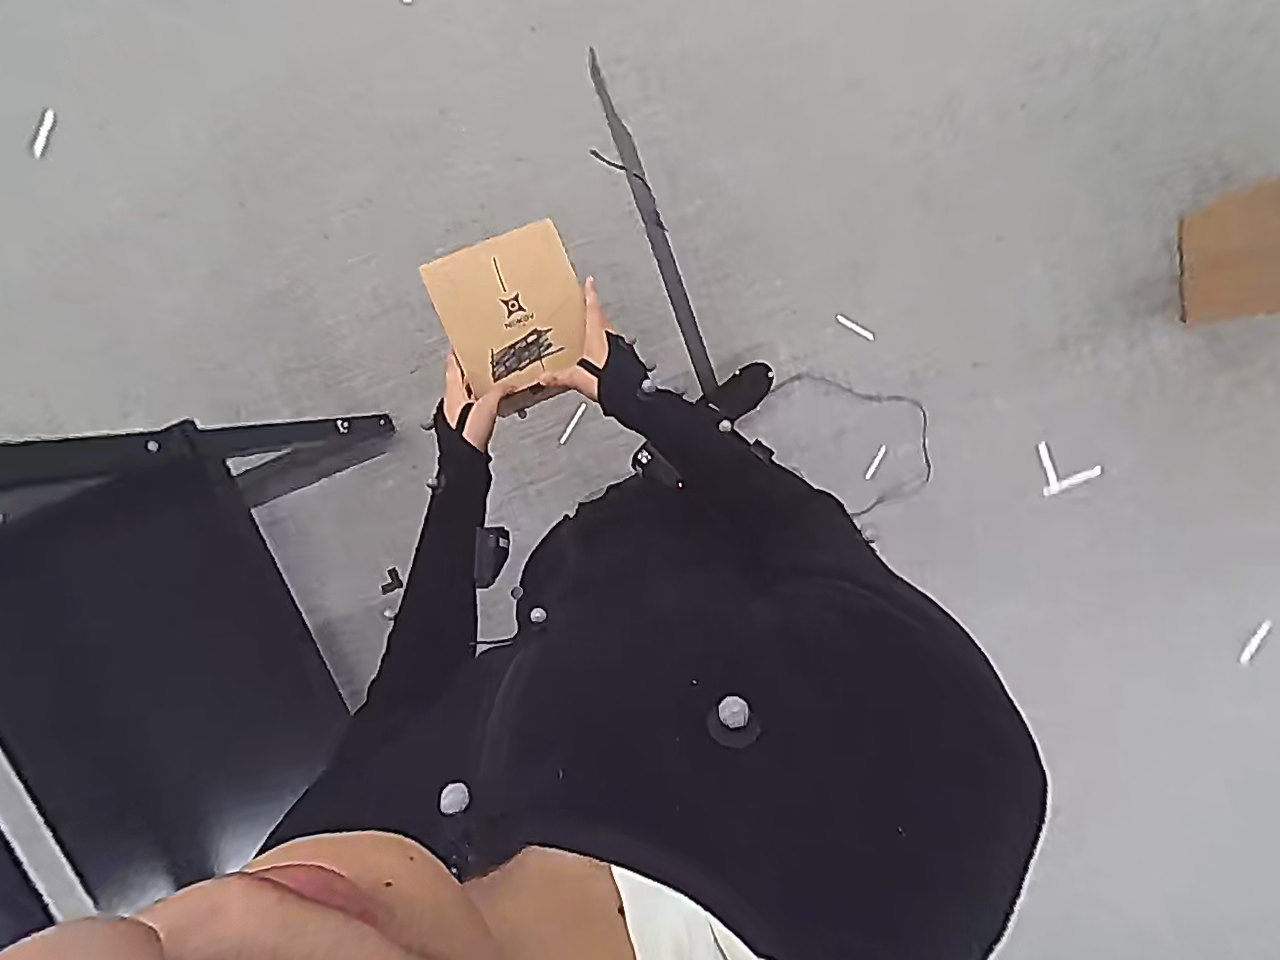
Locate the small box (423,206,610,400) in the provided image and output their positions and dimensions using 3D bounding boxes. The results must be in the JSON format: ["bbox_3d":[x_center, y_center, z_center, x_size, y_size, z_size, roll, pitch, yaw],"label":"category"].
[{"bbox_3d":[-0.146,-0.210,0.698,0.168,0.176,0.179,-23,95,-4],"label":"small box"}]
